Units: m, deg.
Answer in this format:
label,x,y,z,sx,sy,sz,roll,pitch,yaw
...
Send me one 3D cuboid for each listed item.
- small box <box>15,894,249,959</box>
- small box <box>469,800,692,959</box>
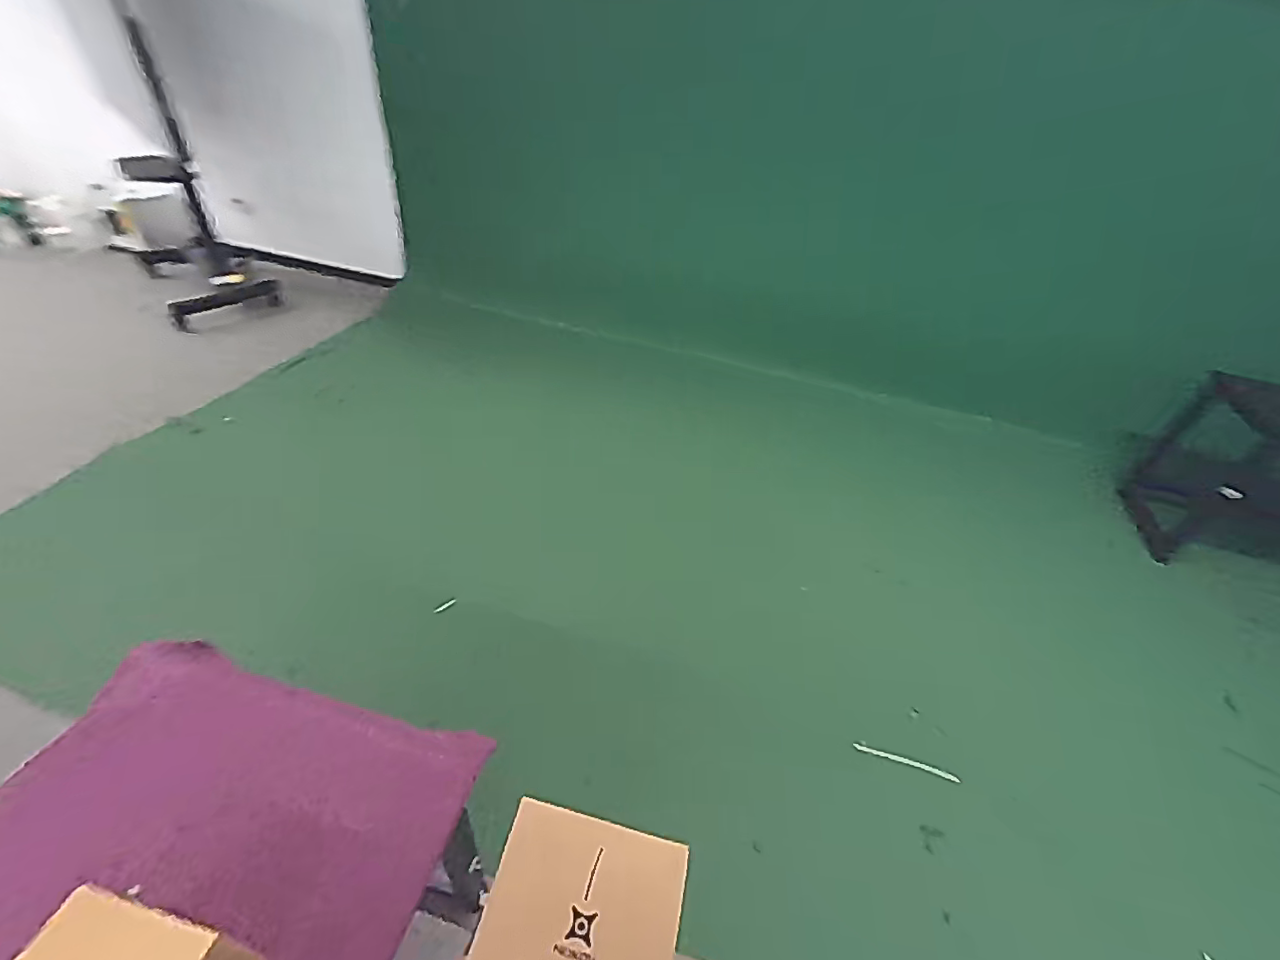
label,x,y,z,sx,sy,sz,roll,pitch,yaw
small box,-0.555,0.575,0.565,0.179,0.176,0.168,11,40,7
small box,-0.059,0.438,0.509,0.168,0.176,0.179,15,48,5
